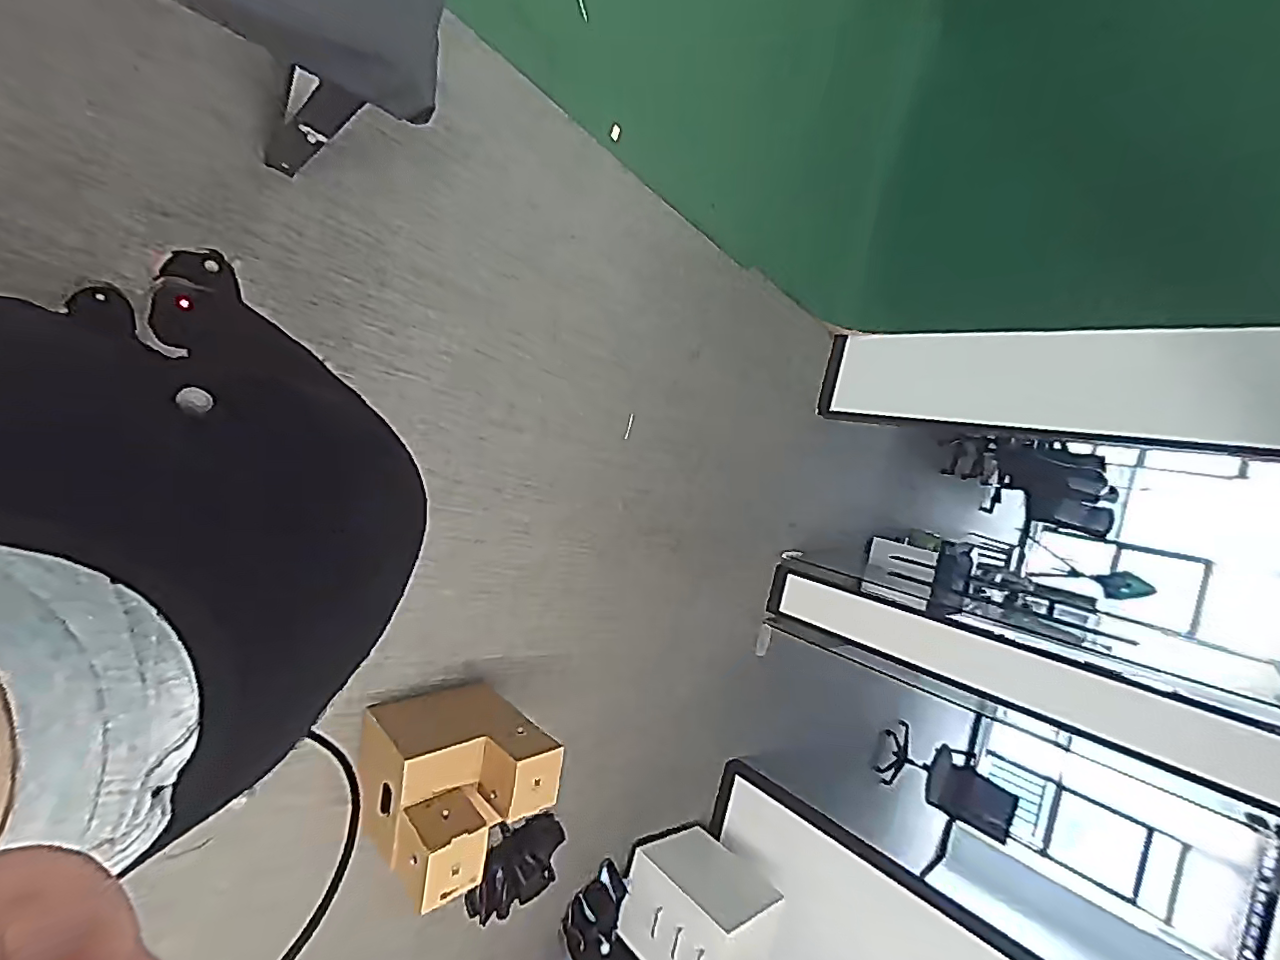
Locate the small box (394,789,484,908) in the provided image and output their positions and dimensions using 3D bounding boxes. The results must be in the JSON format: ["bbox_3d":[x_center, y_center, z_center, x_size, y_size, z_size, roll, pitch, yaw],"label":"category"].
[{"bbox_3d":[-0.536,0.958,1.433,0.168,0.176,0.179,2,100,-45],"label":"small box"}]

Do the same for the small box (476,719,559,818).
[{"bbox_3d":[-0.362,0.834,1.580,0.168,0.176,0.179,6,92,-47],"label":"small box"}]
